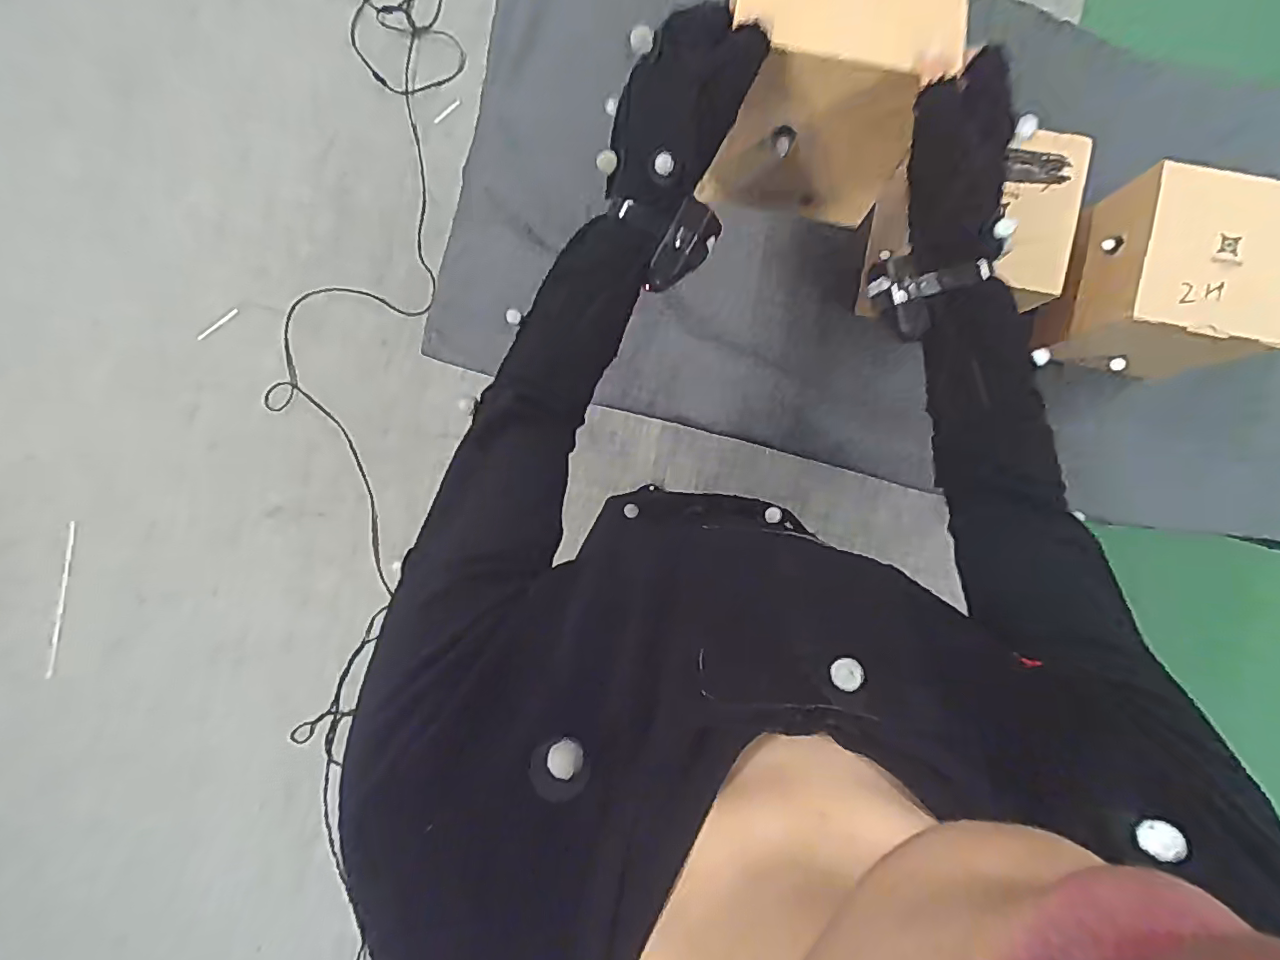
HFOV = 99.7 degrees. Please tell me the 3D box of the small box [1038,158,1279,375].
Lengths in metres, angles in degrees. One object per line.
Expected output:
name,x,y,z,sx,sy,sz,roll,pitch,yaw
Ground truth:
small box,0.626,-0.242,0.651,0.168,0.176,0.179,12,90,3
